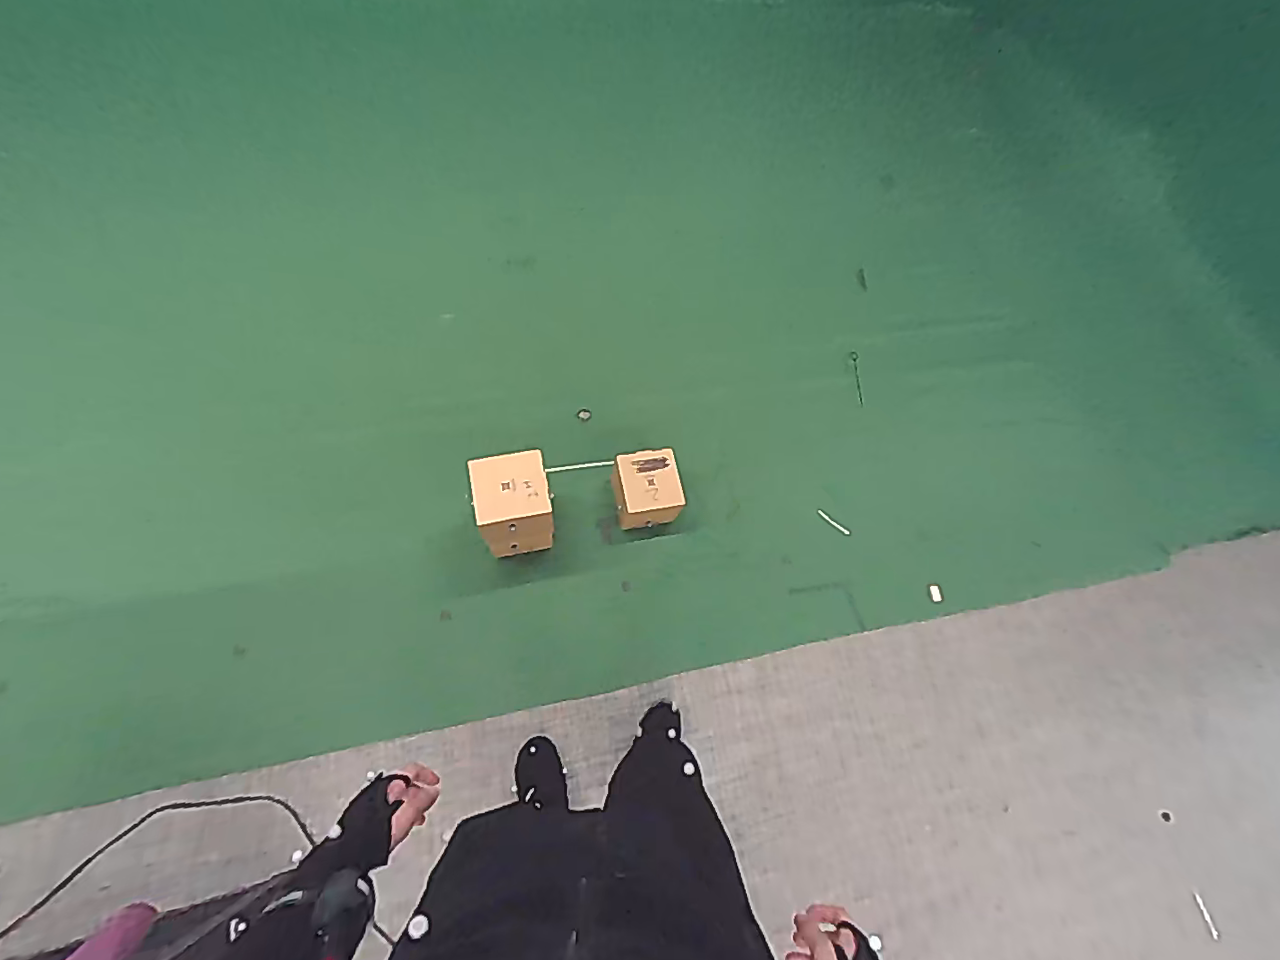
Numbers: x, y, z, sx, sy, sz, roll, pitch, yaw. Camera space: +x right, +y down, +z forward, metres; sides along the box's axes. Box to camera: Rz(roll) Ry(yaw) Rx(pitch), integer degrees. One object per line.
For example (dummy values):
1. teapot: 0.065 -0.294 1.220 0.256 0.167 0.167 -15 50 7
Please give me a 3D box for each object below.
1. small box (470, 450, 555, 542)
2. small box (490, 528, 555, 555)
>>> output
1. small box: -0.310 0.045 1.341 0.179 0.176 0.168 -10 70 -12
2. small box: -0.330 0.100 1.495 0.168 0.176 0.179 -10 69 -11
